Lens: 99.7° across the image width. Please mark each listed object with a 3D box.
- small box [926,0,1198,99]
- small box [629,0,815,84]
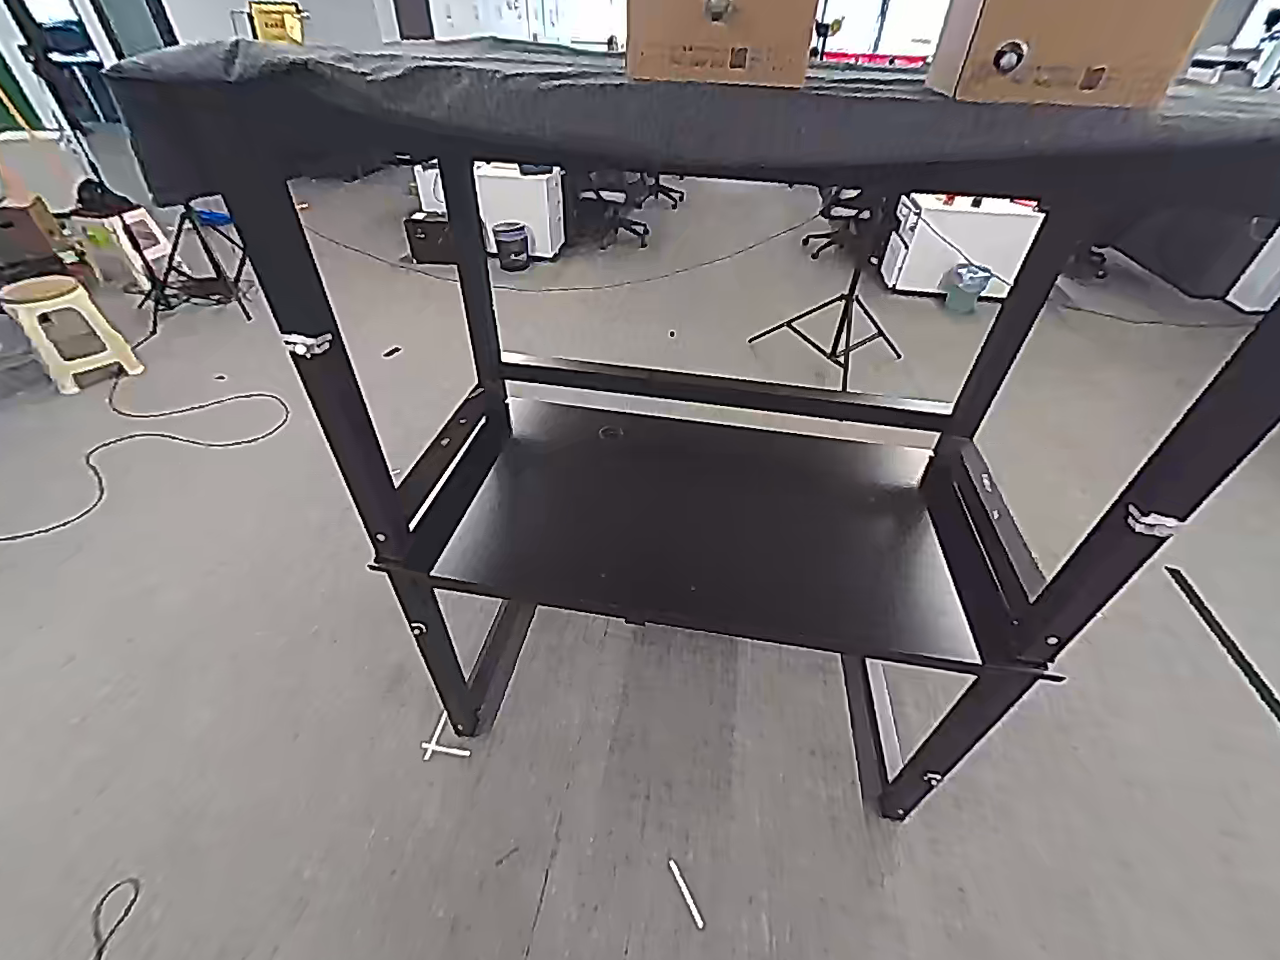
[{"bbox_3d":[0.380,-0.449,0.483,0.168,0.176,0.179,10,39,9],"label":"small box"},{"bbox_3d":[0.084,-0.486,0.510,0.168,0.176,0.179,8,38,7],"label":"small box"}]
